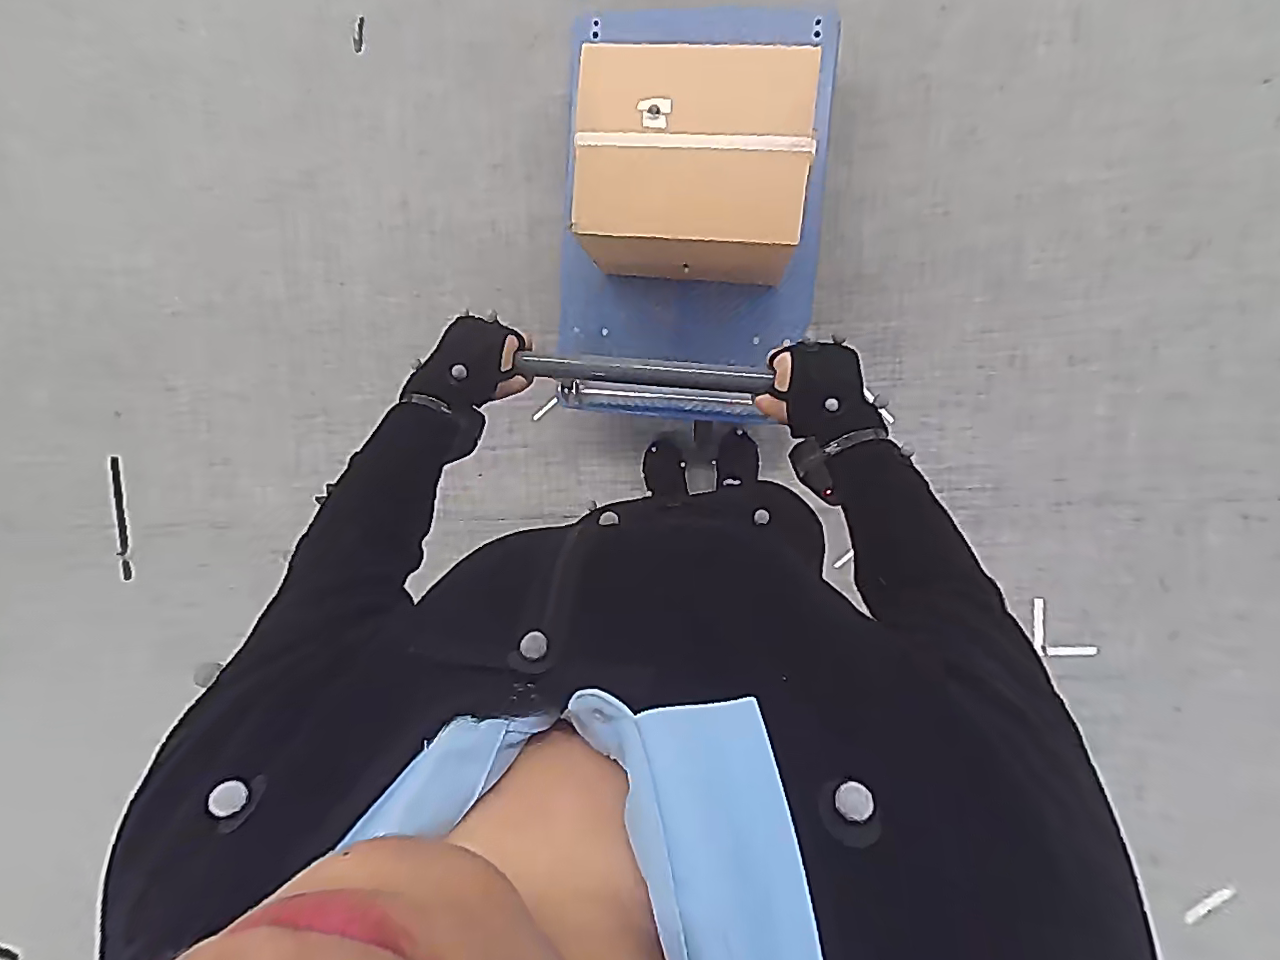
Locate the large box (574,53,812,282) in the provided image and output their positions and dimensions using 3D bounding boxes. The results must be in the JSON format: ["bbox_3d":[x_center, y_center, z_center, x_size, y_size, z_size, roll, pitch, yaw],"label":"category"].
[{"bbox_3d":[0.107,-0.594,1.091,0.408,0.320,0.320,5,97,7],"label":"large box"}]
